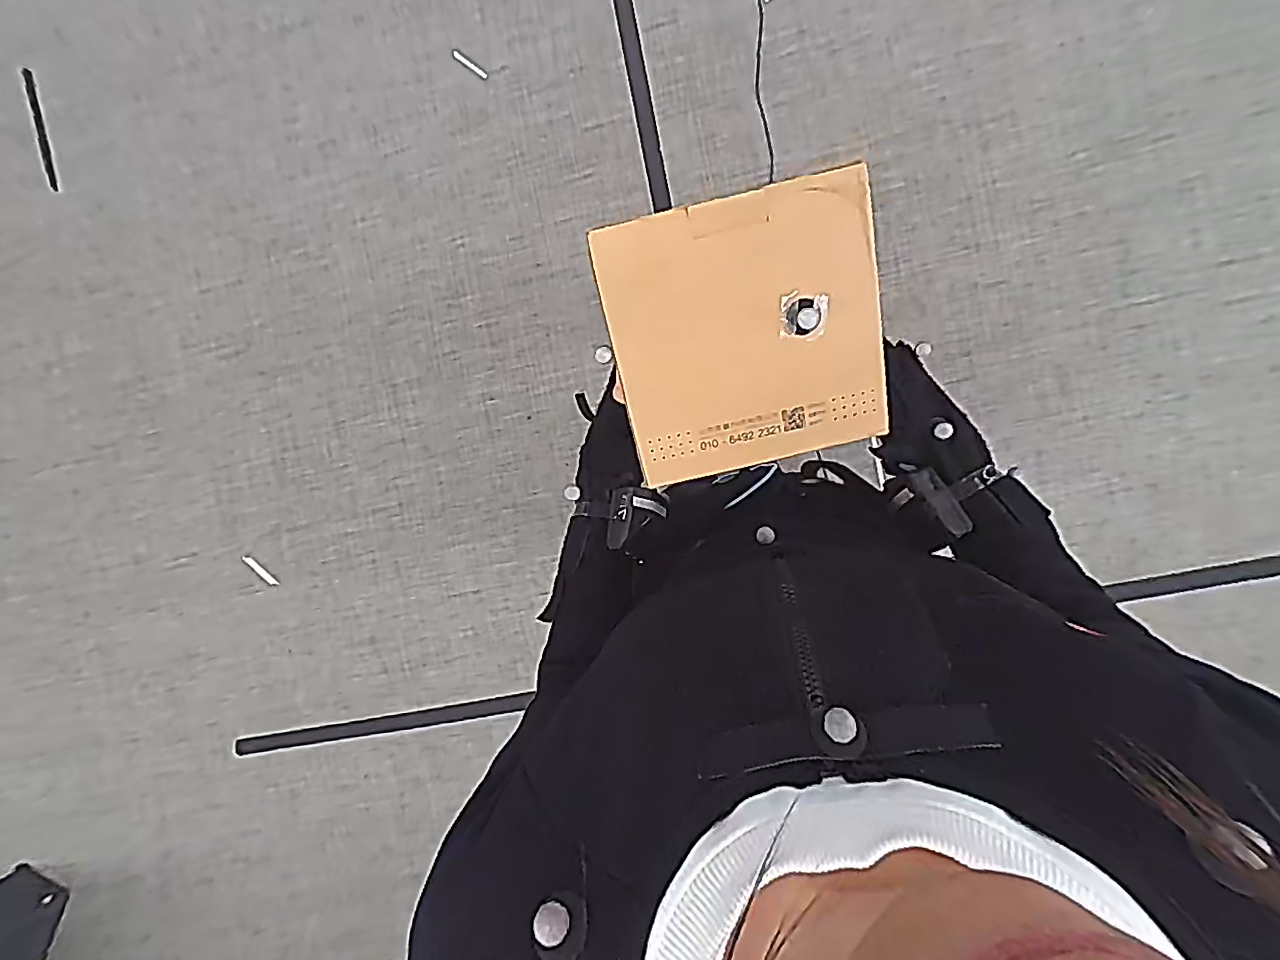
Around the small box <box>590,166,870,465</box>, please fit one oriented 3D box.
[{"bbox_3d":[0.067,-0.121,0.429,0.168,0.179,0.176,-12,110,4],"label":"small box"}]
